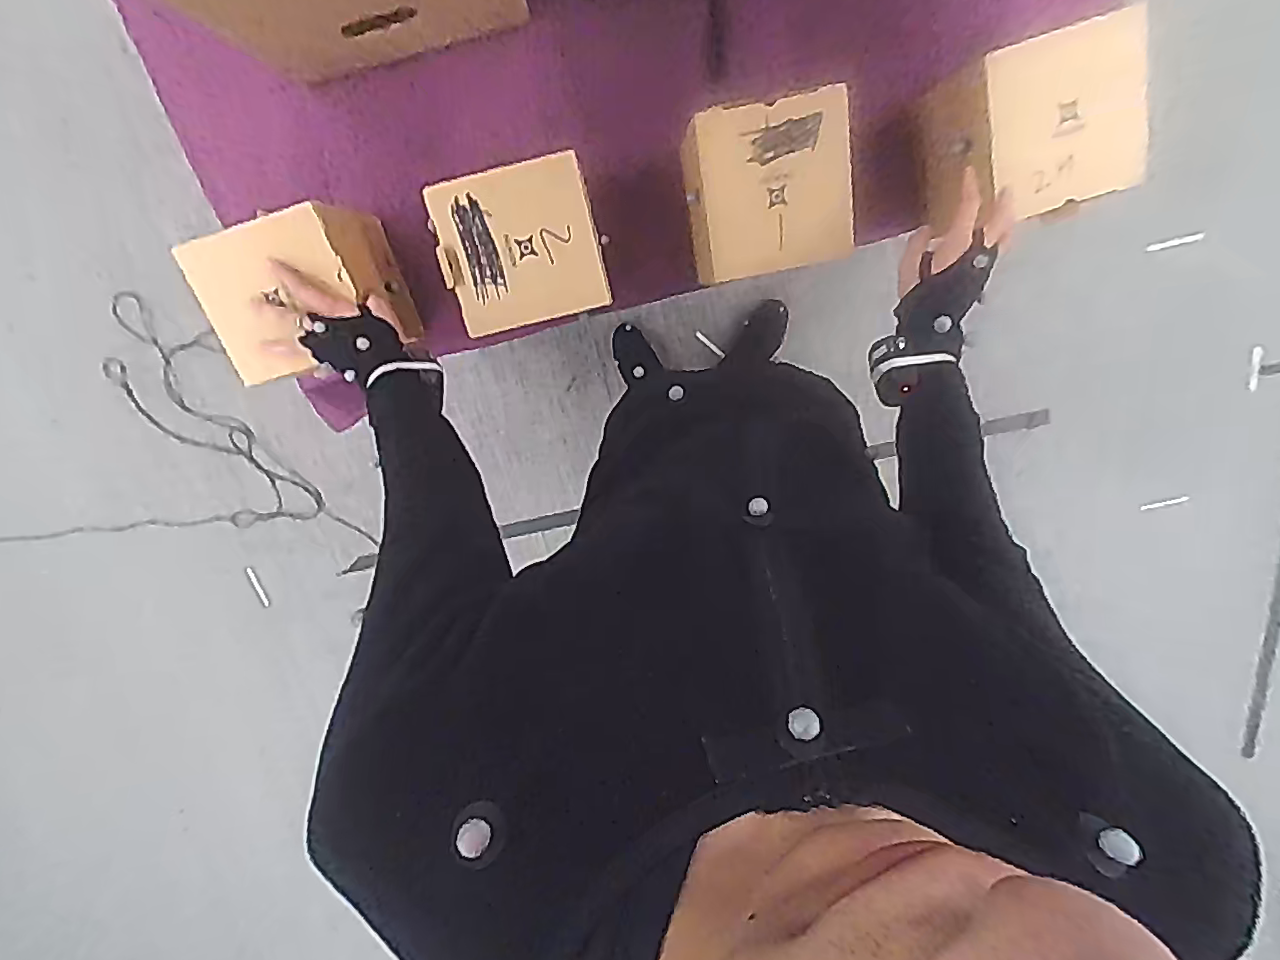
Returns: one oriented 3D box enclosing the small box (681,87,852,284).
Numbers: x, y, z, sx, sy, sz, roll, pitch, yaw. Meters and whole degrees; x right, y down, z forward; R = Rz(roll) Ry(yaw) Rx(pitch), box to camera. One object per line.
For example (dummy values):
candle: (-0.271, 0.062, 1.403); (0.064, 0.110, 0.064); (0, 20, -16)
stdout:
small box: (0.149, -0.349, 0.677); (0.168, 0.176, 0.179); (-10, 110, 2)

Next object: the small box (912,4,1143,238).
small box: (0.455, -0.414, 0.660); (0.168, 0.176, 0.179); (-16, 109, 5)
